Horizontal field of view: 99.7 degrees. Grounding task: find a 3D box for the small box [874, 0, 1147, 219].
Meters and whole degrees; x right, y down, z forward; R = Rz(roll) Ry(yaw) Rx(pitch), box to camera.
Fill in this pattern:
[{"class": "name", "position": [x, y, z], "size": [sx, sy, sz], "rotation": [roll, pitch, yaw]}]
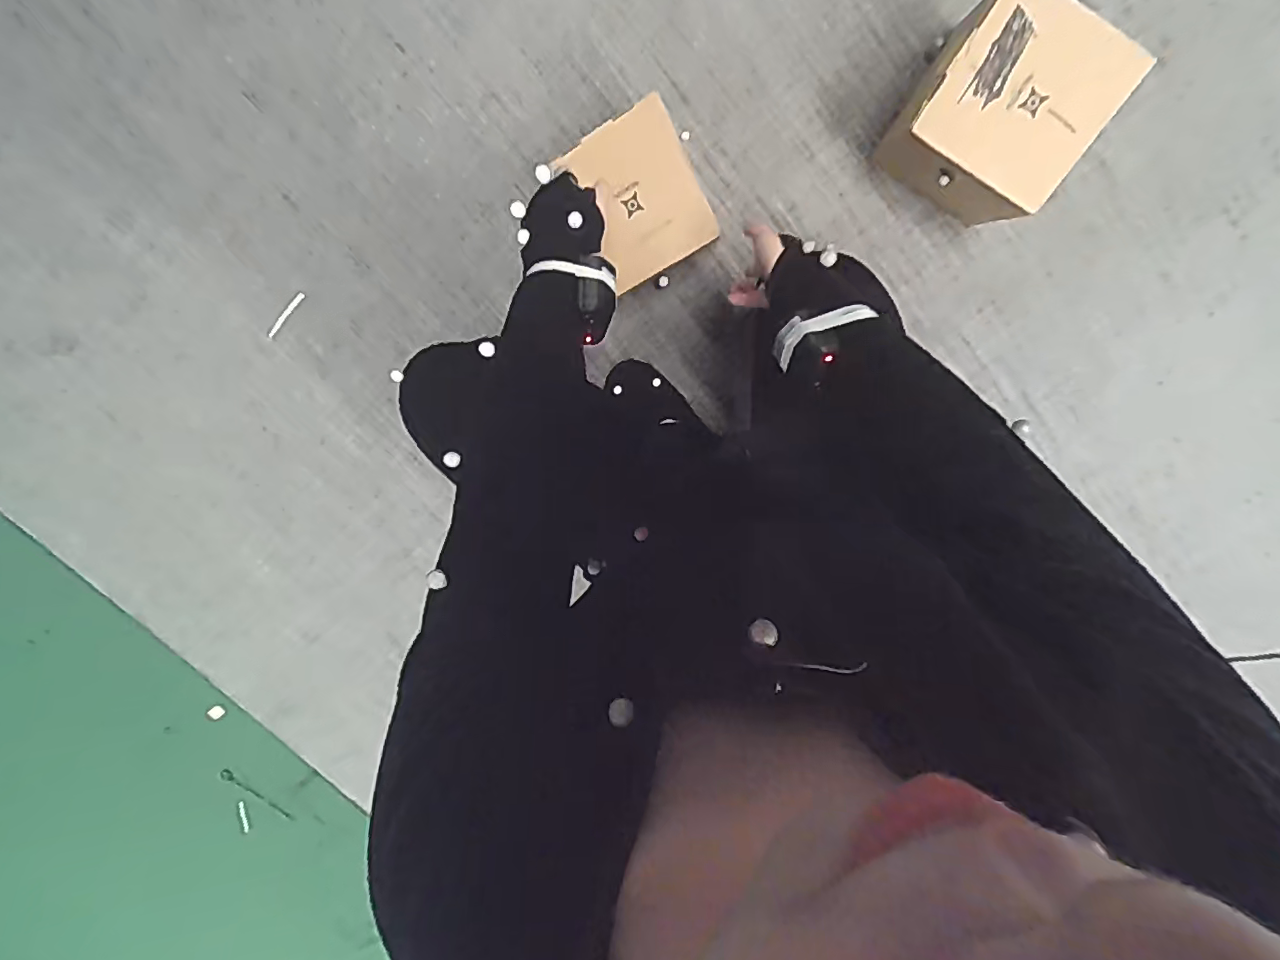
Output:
[{"class": "small box", "position": [0.417, -0.435, 0.649], "size": [0.179, 0.176, 0.168], "rotation": [30, 112, -4]}]
